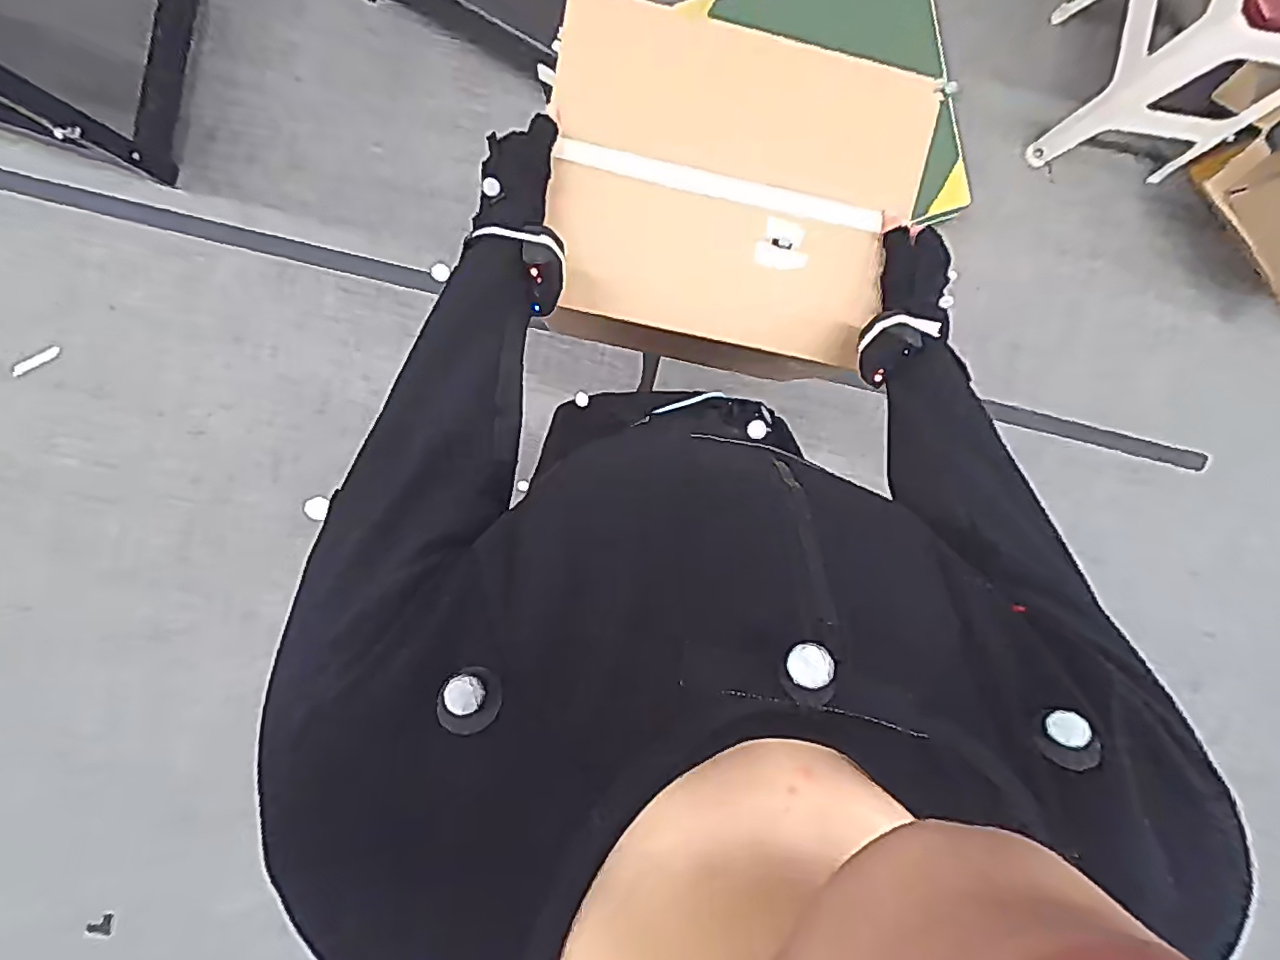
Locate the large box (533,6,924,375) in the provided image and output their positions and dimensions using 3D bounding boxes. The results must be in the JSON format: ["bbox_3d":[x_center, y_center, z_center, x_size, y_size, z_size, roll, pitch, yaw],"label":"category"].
[{"bbox_3d":[0.086,-0.339,0.749,0.408,0.320,0.320,10,99,-6],"label":"large box"}]
